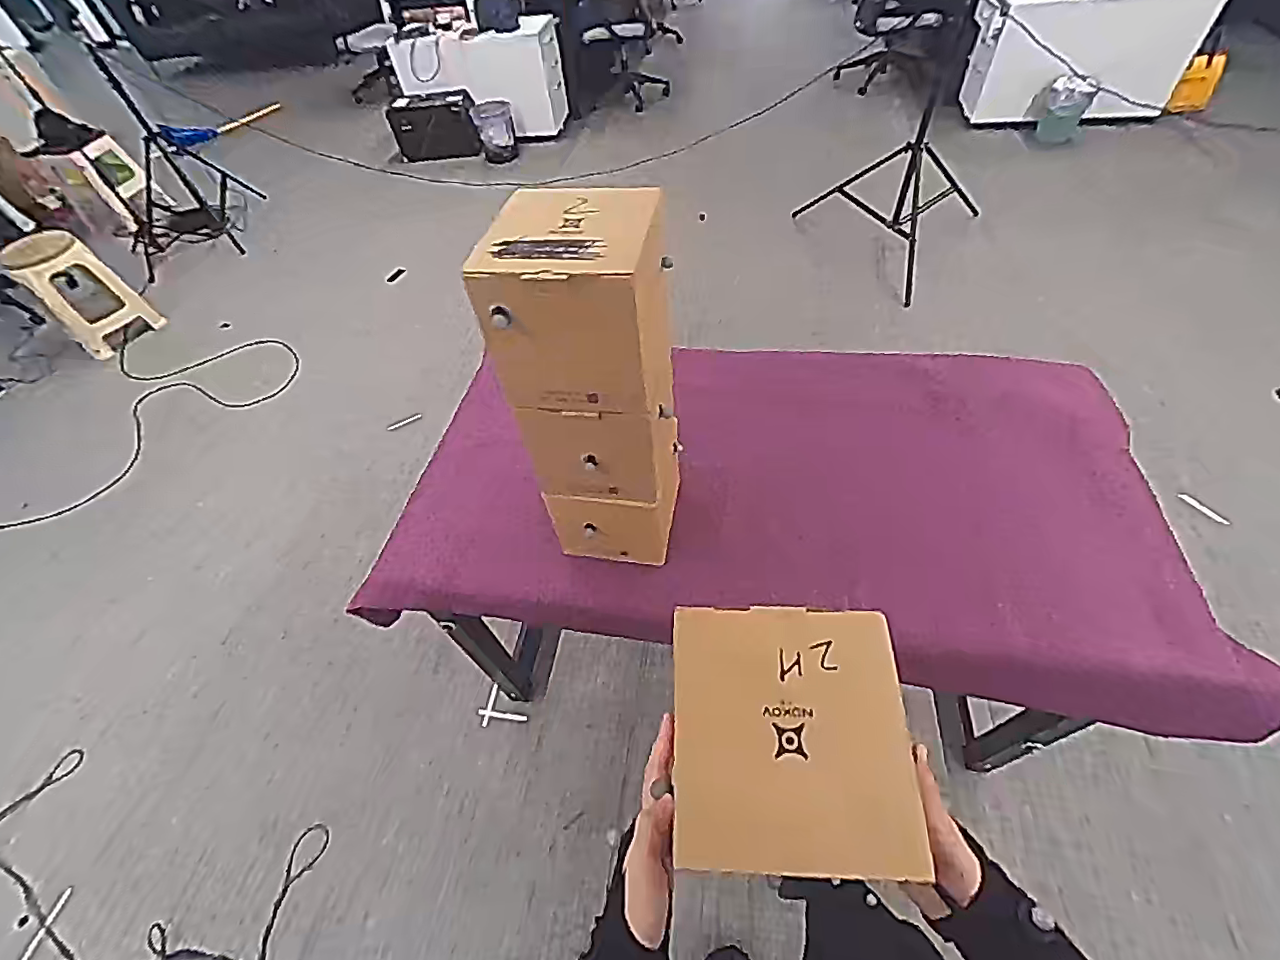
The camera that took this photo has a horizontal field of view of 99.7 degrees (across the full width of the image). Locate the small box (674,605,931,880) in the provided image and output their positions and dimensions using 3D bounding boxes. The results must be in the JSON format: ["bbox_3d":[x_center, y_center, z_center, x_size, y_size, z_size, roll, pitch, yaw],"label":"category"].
[{"bbox_3d":[0.115,0.219,0.461,0.168,0.176,0.179,1,59,3],"label":"small box"}]

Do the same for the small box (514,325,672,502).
[{"bbox_3d":[-0.048,-0.087,0.728,0.168,0.176,0.179,4,52,8],"label":"small box"}]

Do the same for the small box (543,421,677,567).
[{"bbox_3d":[-0.034,0.019,0.853,0.168,0.176,0.179,6,52,10],"label":"small box"}]
